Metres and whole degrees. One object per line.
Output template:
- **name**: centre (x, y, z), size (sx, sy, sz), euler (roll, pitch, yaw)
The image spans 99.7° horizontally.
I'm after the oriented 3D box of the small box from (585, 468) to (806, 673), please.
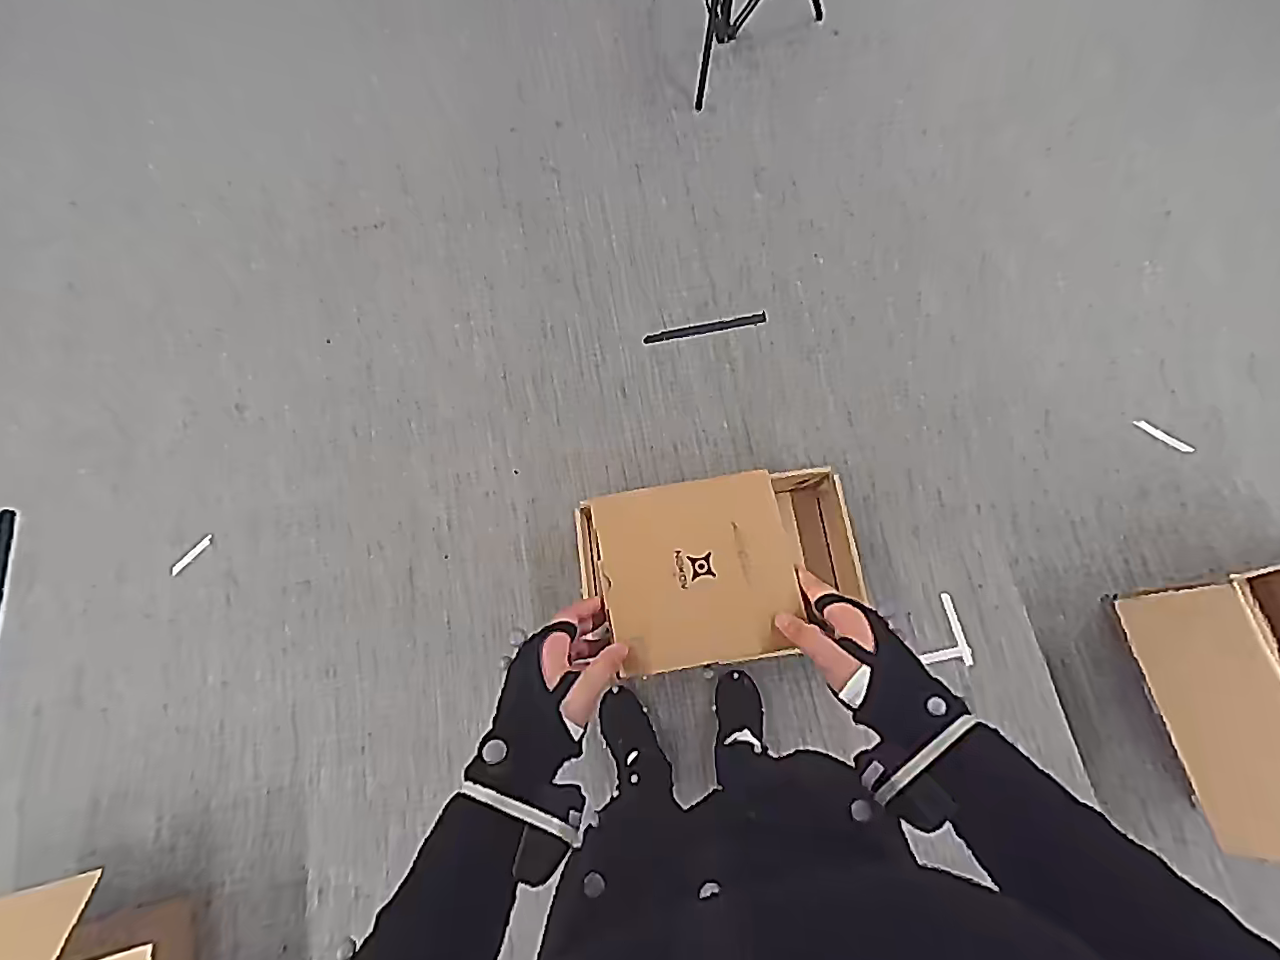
- **small box**: centre (0.045, 0.103, 0.567), size (0.179, 0.176, 0.168), euler (-10, 72, -6)
